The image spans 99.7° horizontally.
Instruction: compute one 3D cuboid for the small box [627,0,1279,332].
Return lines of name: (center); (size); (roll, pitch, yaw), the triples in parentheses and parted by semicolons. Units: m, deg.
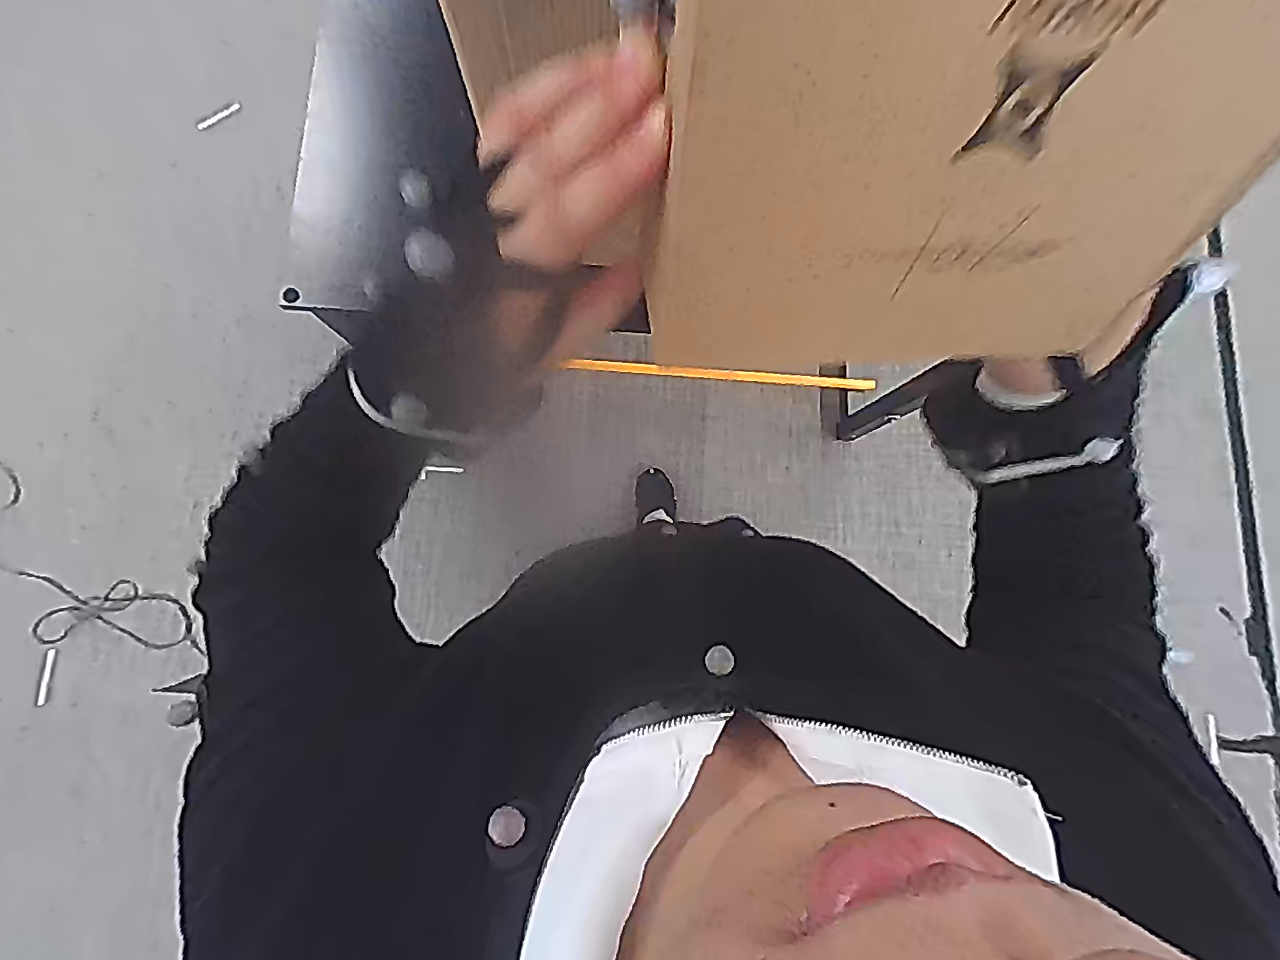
small box: (0.084, -0.171, 0.162); (0.168, 0.179, 0.176); (-4, 59, -4)
